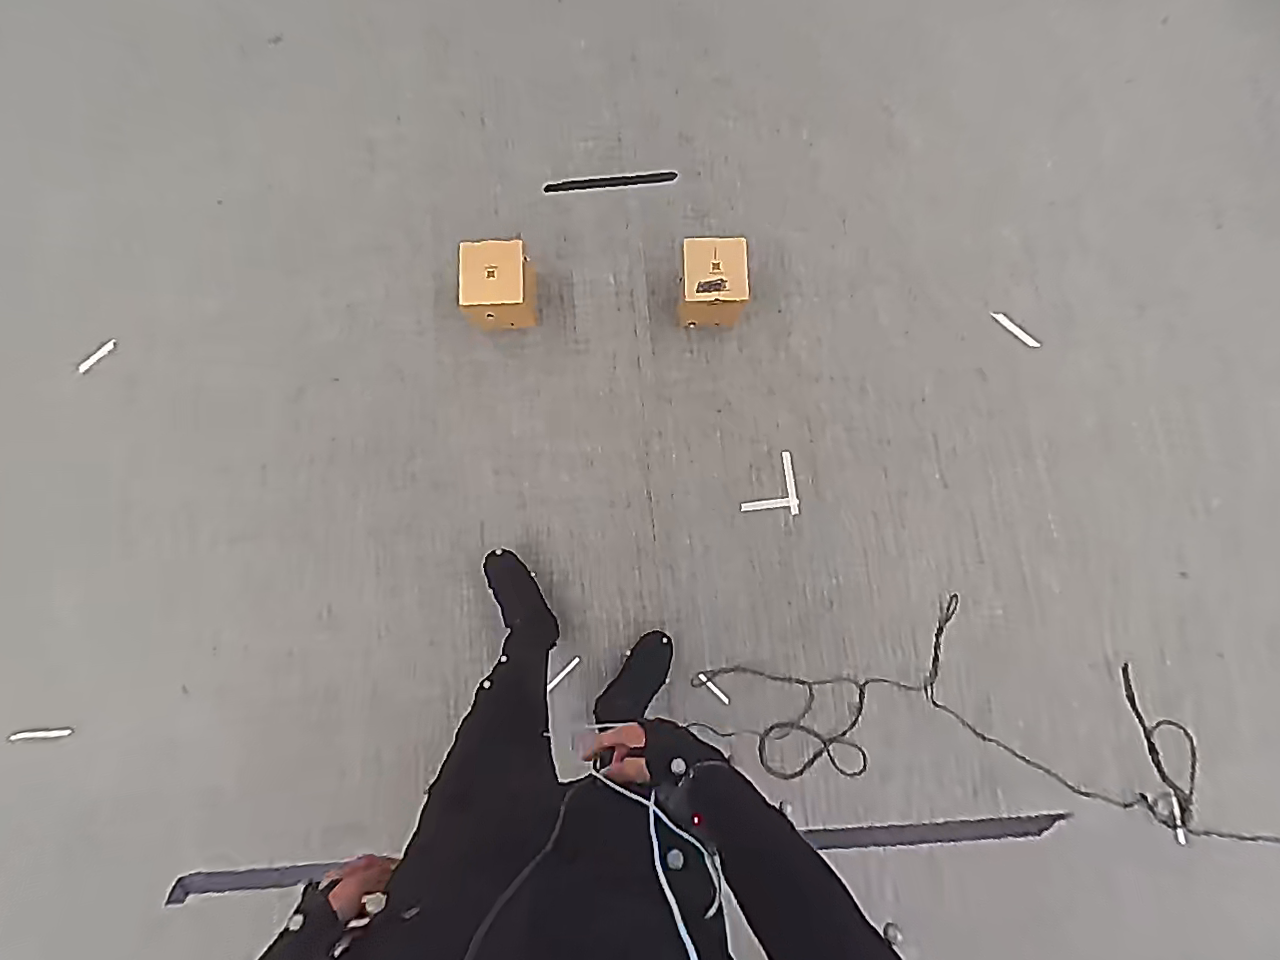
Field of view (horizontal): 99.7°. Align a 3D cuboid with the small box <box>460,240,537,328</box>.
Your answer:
[{"bbox_3d":[-0.378,-0.522,1.466,0.168,0.176,0.179,-2,82,0],"label":"small box"}]

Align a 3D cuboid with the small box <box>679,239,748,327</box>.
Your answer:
[{"bbox_3d":[0.196,-0.526,1.464,0.168,0.176,0.179,-1,82,-1],"label":"small box"}]
